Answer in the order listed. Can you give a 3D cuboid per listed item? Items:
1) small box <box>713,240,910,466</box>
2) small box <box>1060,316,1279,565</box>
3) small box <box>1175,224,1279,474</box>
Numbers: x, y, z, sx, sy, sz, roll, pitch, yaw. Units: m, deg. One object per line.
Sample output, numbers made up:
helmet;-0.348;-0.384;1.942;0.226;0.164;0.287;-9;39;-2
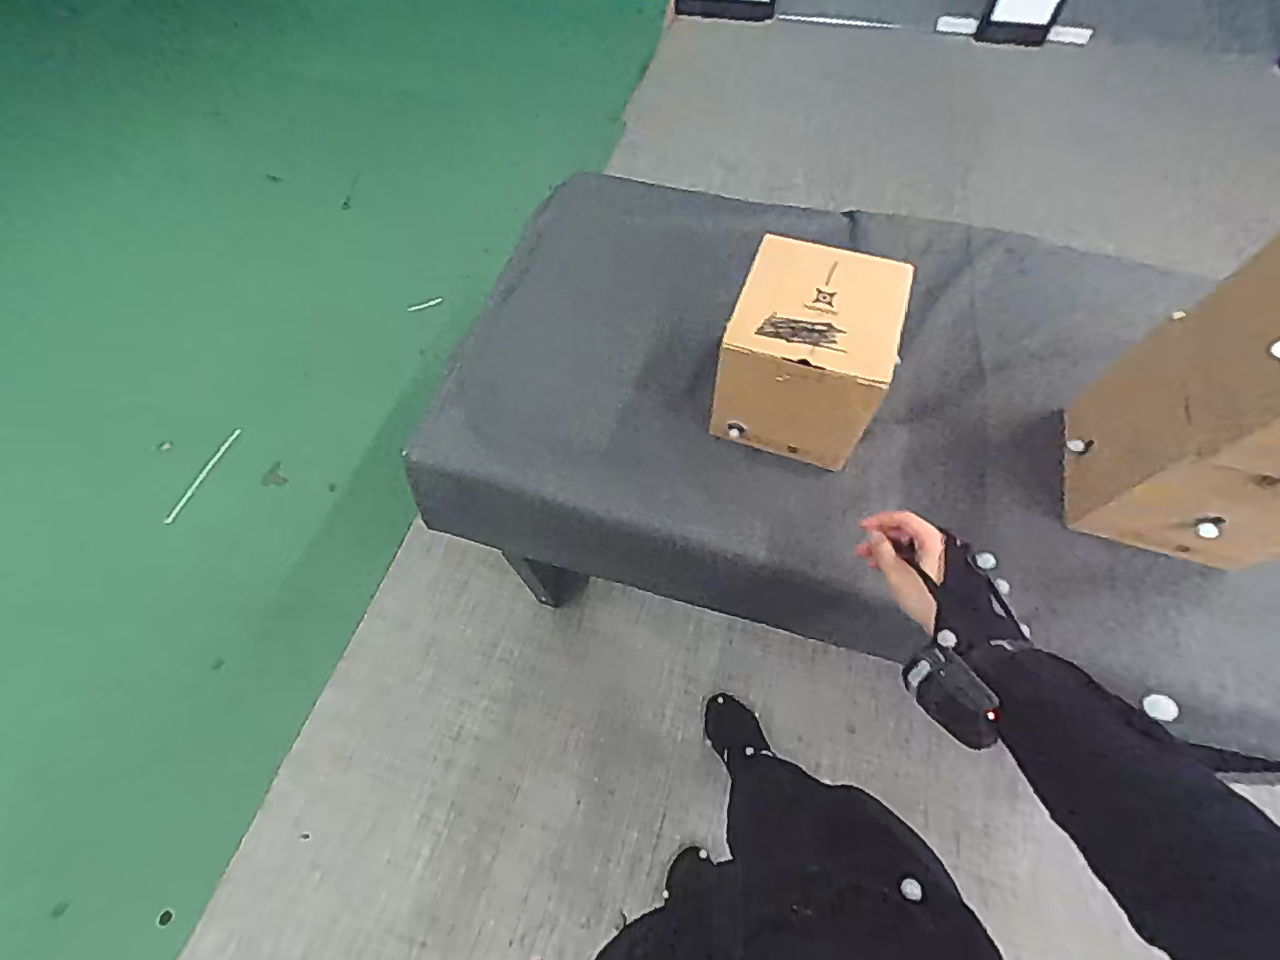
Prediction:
small box;0.189;-0.142;0.635;0.168;0.176;0.179;18;63;11
small box;0.573;-0.032;0.558;0.168;0.176;0.179;16;64;11
small box;0.571;-0.103;0.411;0.168;0.176;0.179;16;63;10
